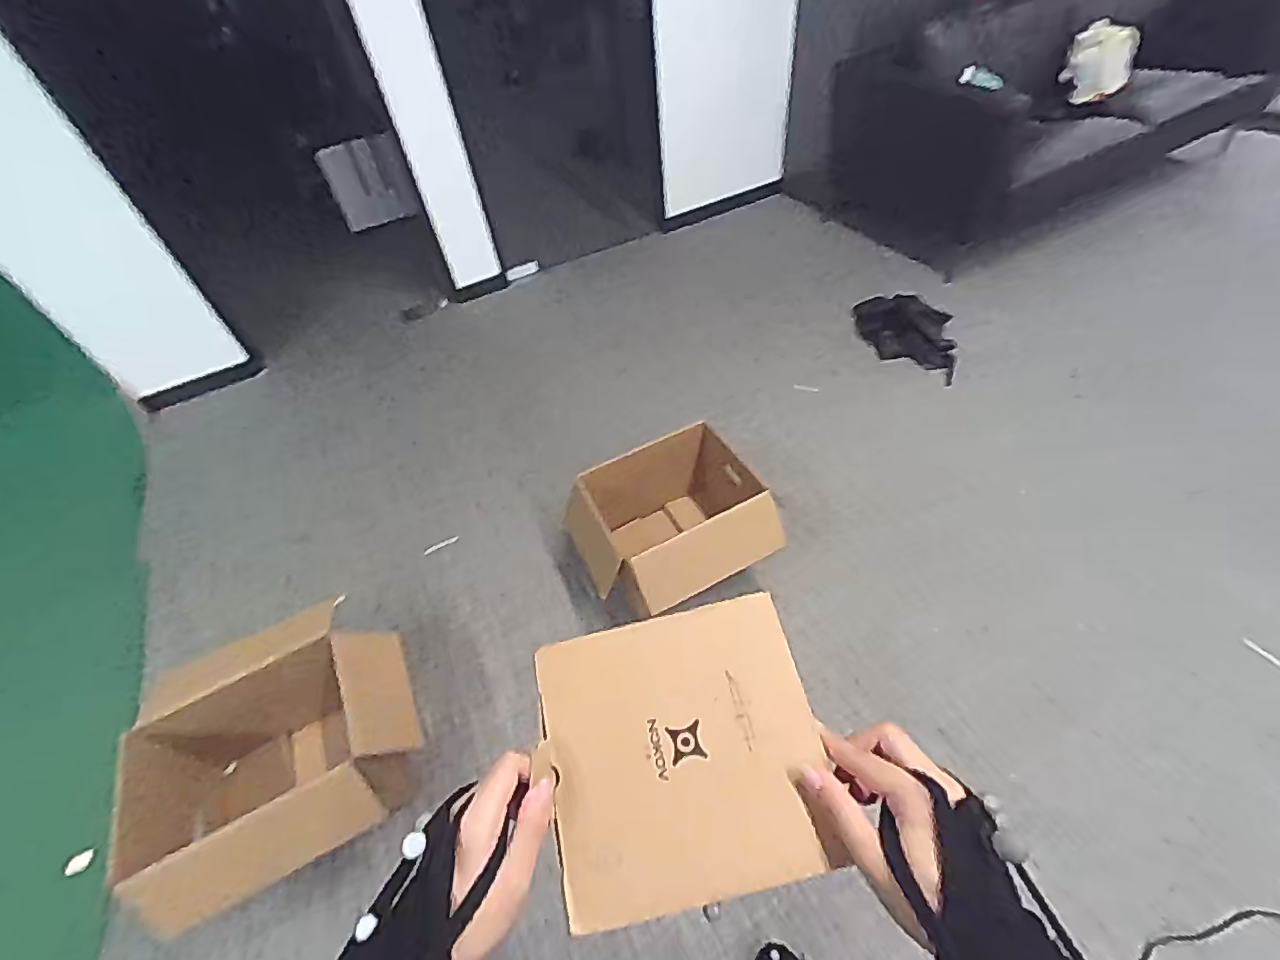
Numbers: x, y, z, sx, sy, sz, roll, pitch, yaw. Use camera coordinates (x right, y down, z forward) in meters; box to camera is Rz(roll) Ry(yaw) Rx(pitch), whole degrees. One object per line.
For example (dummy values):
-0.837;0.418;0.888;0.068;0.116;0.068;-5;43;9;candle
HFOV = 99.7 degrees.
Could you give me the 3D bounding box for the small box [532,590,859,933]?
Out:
0.031;0.205;0.410;0.179;0.176;0.168;-13;61;-3;small box
